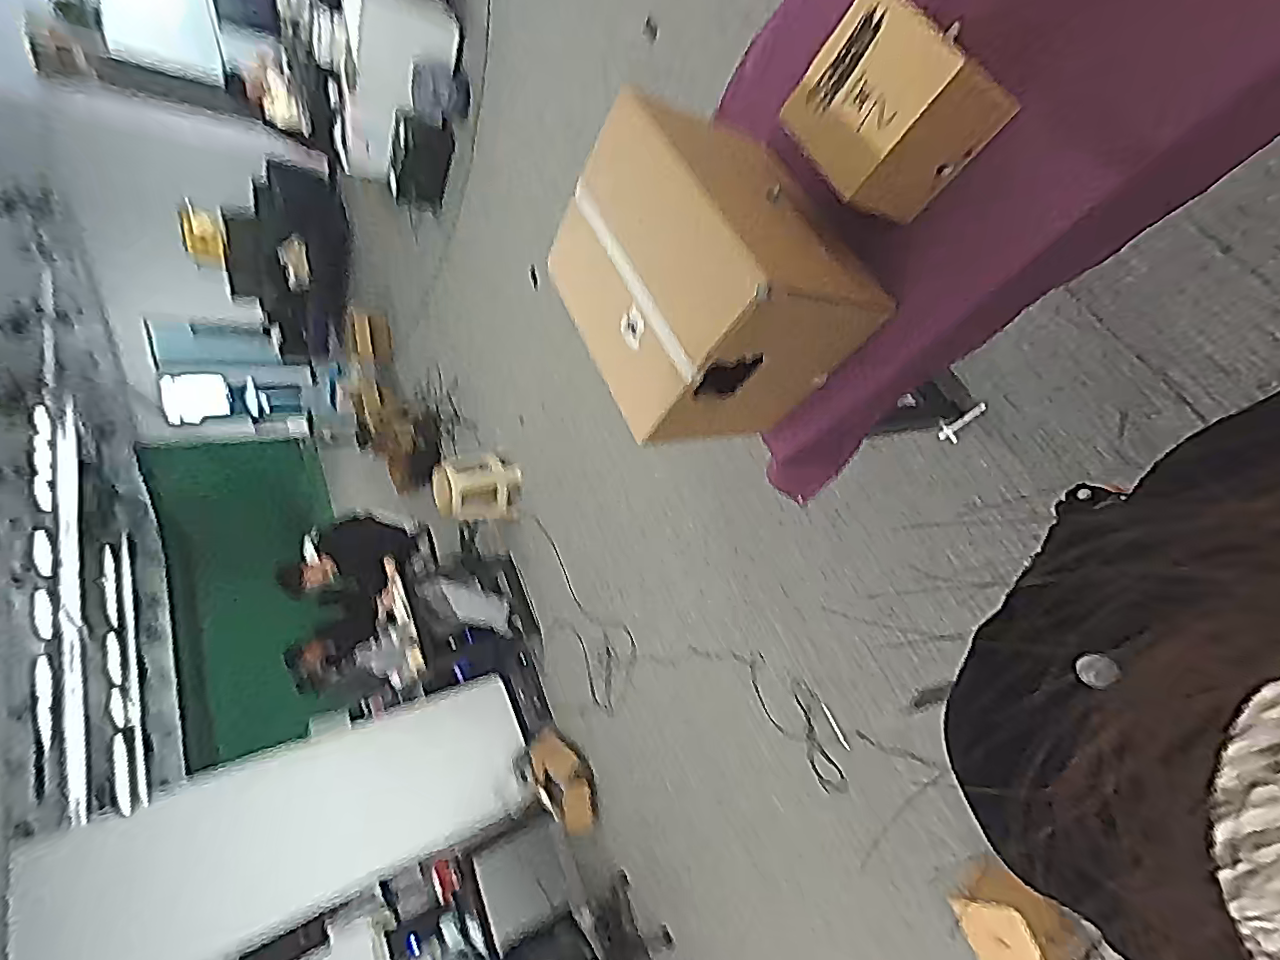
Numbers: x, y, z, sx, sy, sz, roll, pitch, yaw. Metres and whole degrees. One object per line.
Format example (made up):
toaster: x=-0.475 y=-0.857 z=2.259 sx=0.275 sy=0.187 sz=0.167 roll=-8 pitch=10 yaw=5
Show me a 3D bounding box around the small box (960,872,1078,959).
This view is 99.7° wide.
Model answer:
small box: x=0.967 y=1.134 z=1.373 sx=0.179 sy=0.176 sz=0.168 roll=-43 pitch=65 yaw=47
